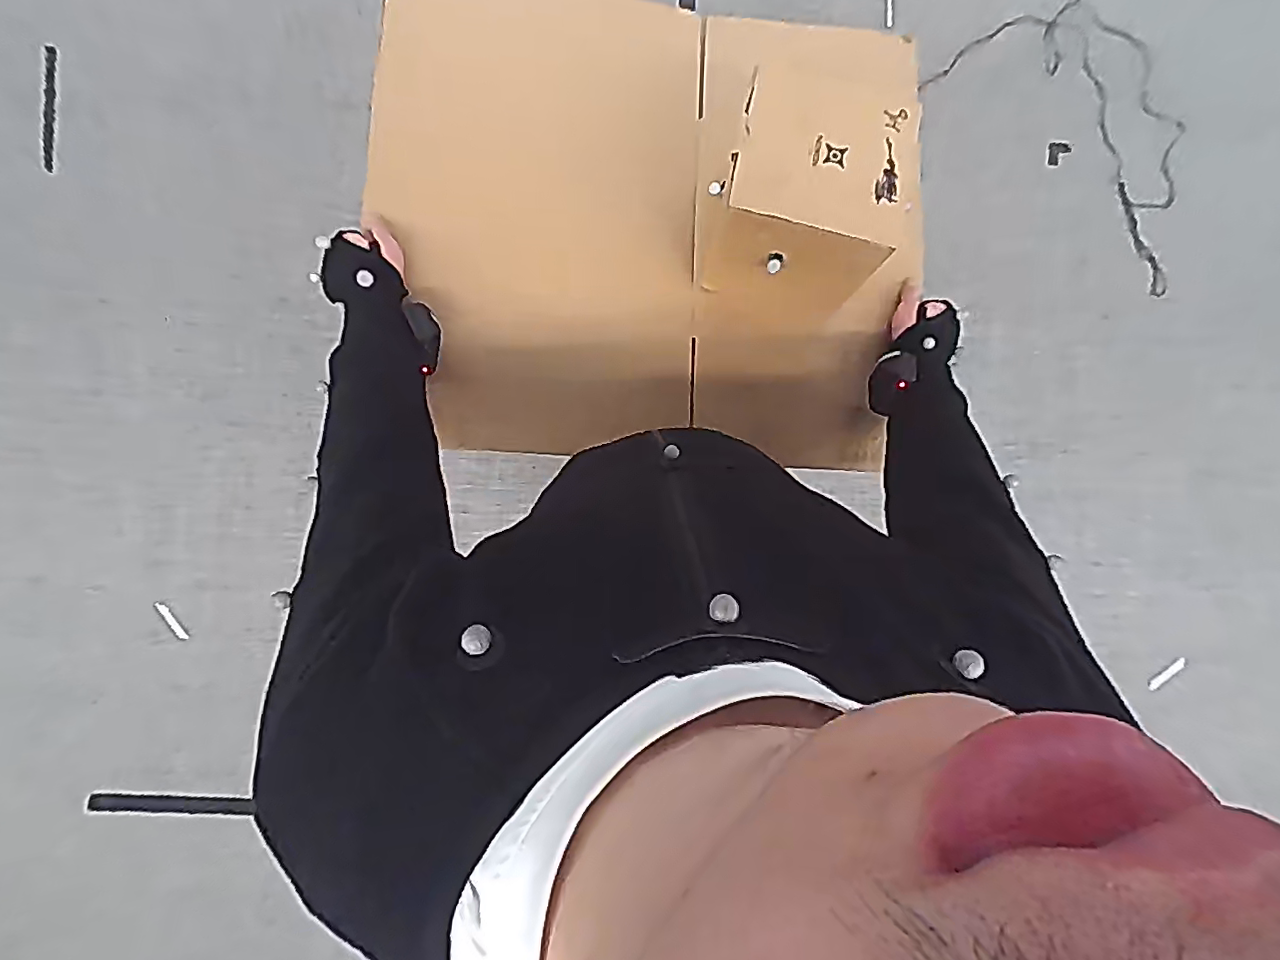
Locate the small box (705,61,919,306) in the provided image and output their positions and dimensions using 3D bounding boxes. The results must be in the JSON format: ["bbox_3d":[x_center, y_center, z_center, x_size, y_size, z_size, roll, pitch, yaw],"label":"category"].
[{"bbox_3d":[0.181,-0.322,0.622,0.179,0.176,0.168,13,84,-1],"label":"small box"}]
